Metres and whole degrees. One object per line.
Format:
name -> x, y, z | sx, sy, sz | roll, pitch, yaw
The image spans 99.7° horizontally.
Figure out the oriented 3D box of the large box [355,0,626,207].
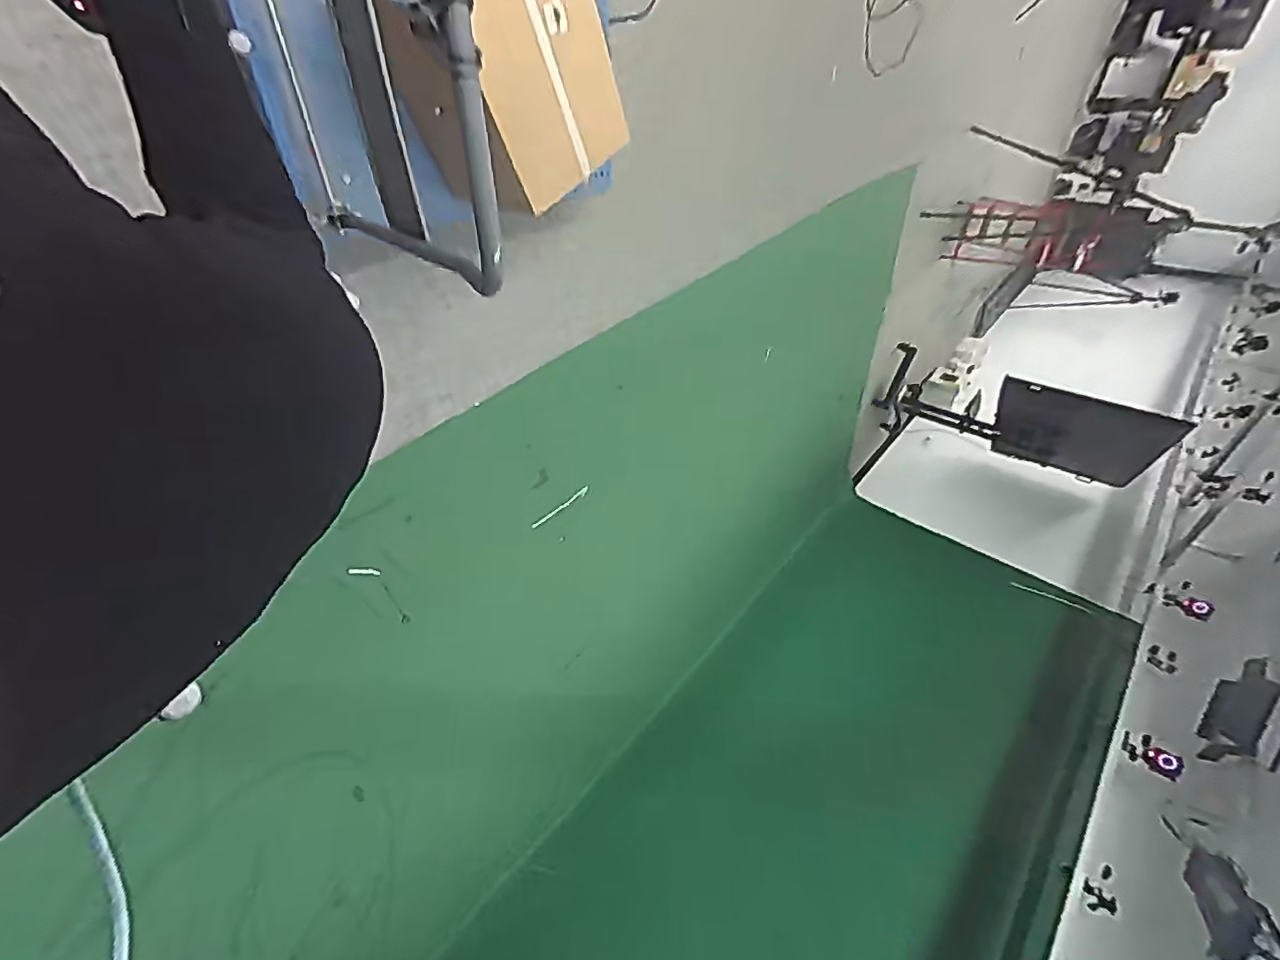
large box -> -0.288, -0.847, 1.105 | 0.320, 0.320, 0.408 | -48, 144, -18
